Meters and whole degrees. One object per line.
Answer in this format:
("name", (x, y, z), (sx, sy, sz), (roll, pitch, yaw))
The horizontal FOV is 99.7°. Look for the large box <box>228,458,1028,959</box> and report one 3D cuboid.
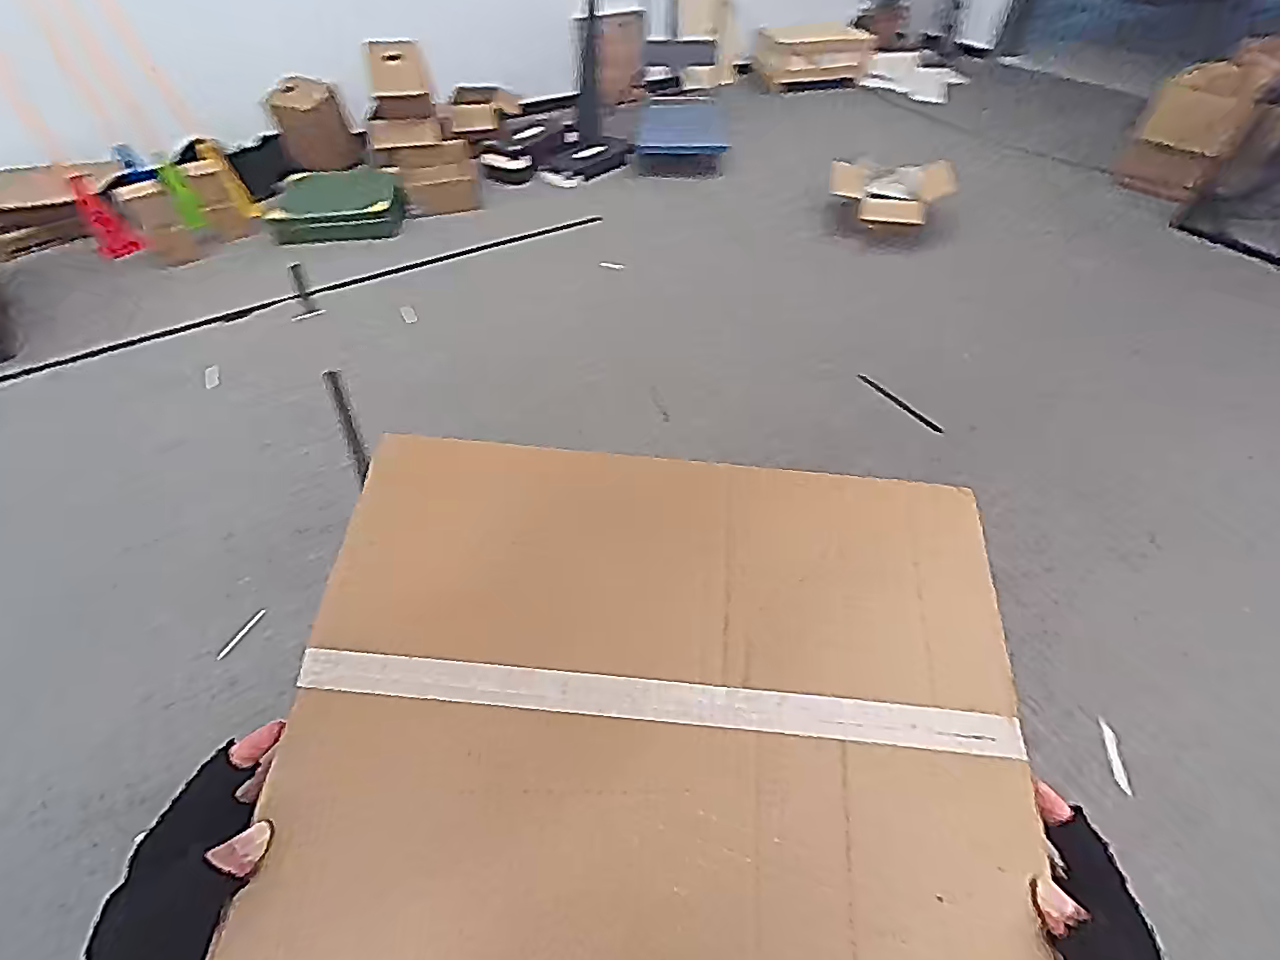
("large box", (-0.002, 0.196, 0.453), (0.408, 0.320, 0.320), (4, 65, 0))
